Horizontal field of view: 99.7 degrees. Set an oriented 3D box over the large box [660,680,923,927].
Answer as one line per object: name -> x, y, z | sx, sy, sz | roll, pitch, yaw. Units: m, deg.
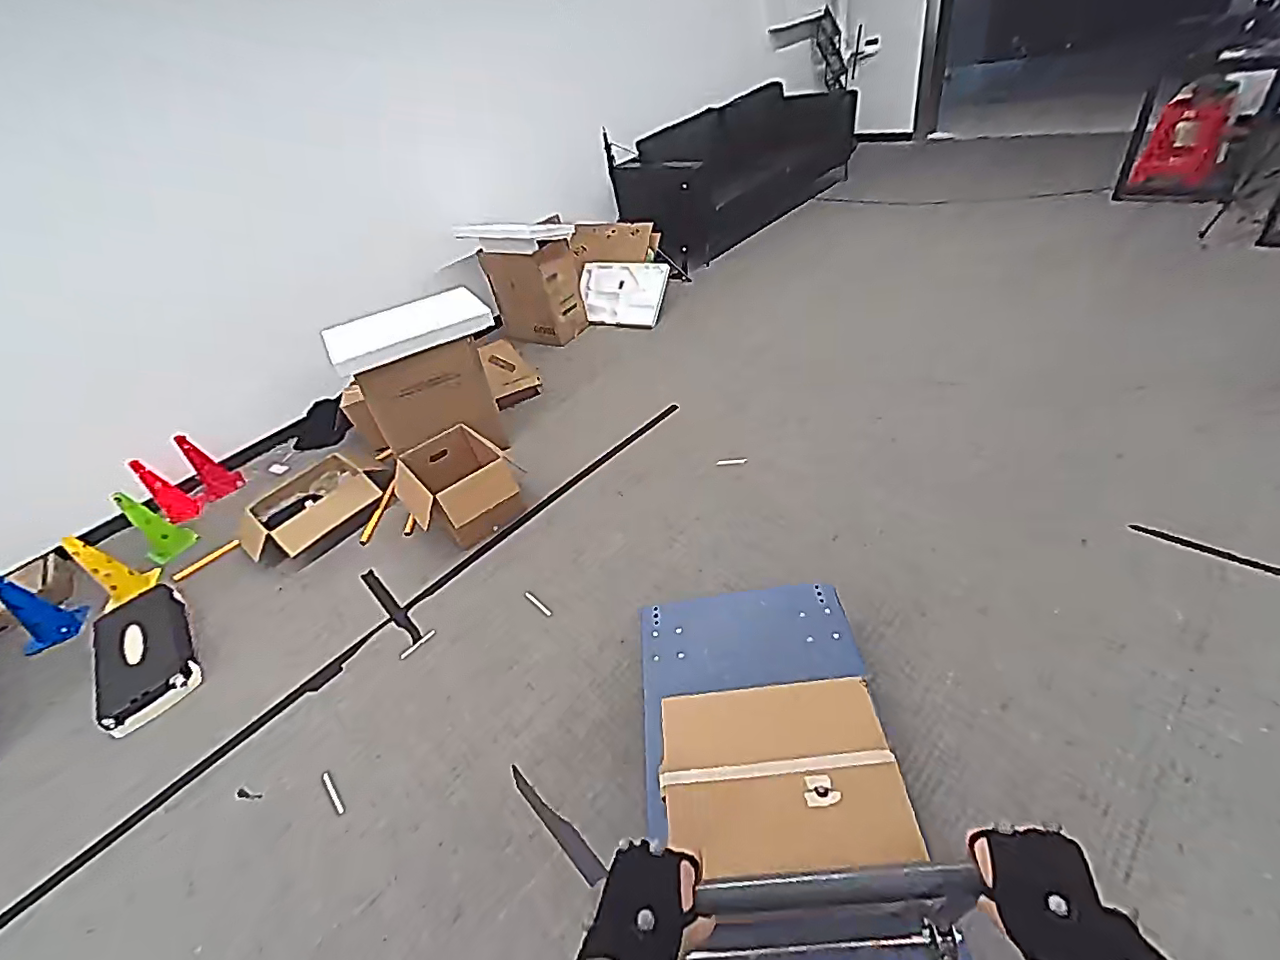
large box -> 0.263, 0.632, 1.056 | 0.408, 0.320, 0.320 | -8, 41, 5
